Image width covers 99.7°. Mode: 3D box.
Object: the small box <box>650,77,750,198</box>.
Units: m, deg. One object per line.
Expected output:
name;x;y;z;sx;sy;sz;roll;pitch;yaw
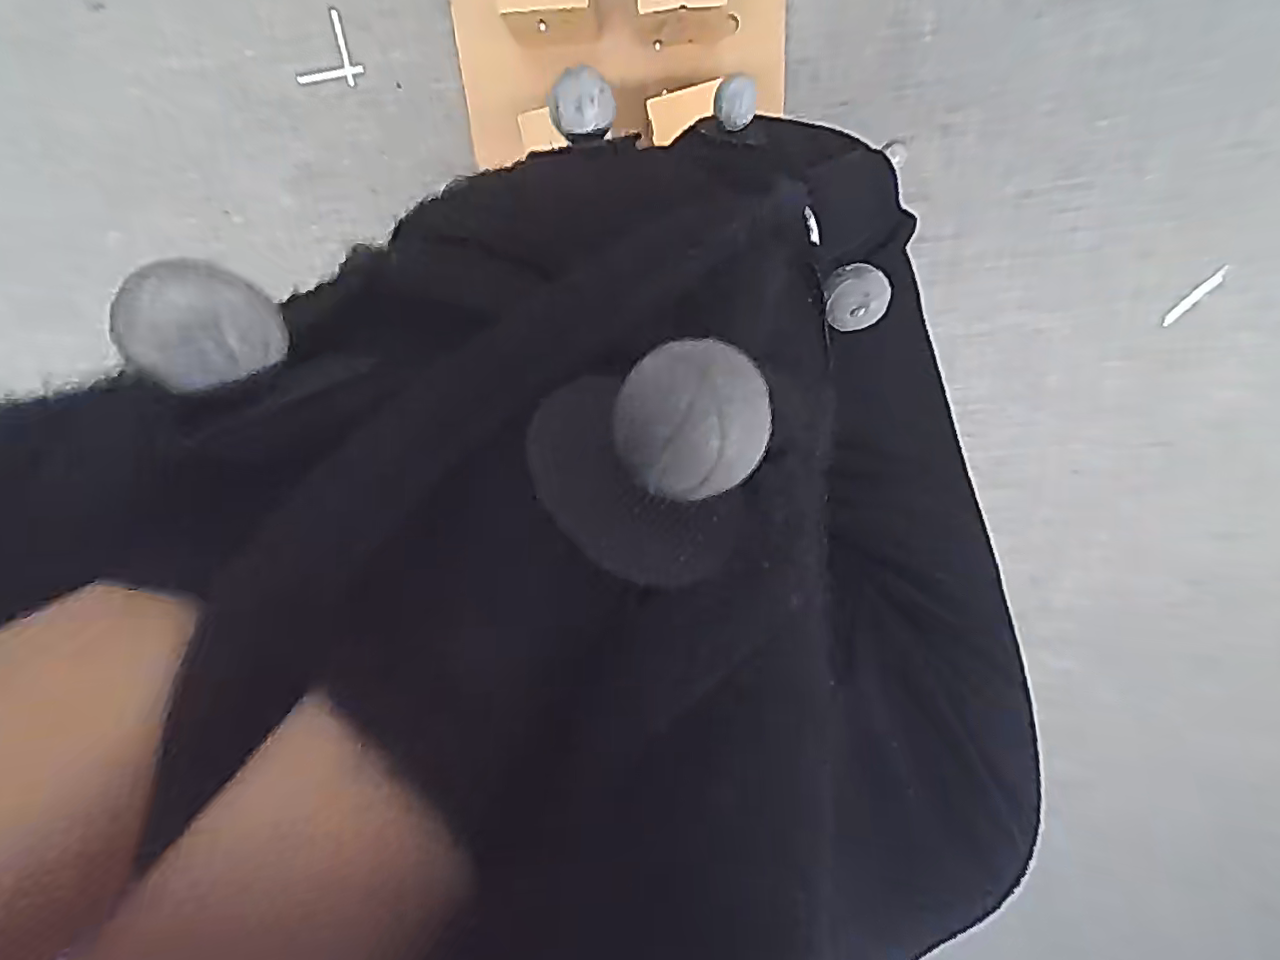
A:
small box;0.124;-0.711;1.142;0.179;0.176;0.168;-11;110;9
